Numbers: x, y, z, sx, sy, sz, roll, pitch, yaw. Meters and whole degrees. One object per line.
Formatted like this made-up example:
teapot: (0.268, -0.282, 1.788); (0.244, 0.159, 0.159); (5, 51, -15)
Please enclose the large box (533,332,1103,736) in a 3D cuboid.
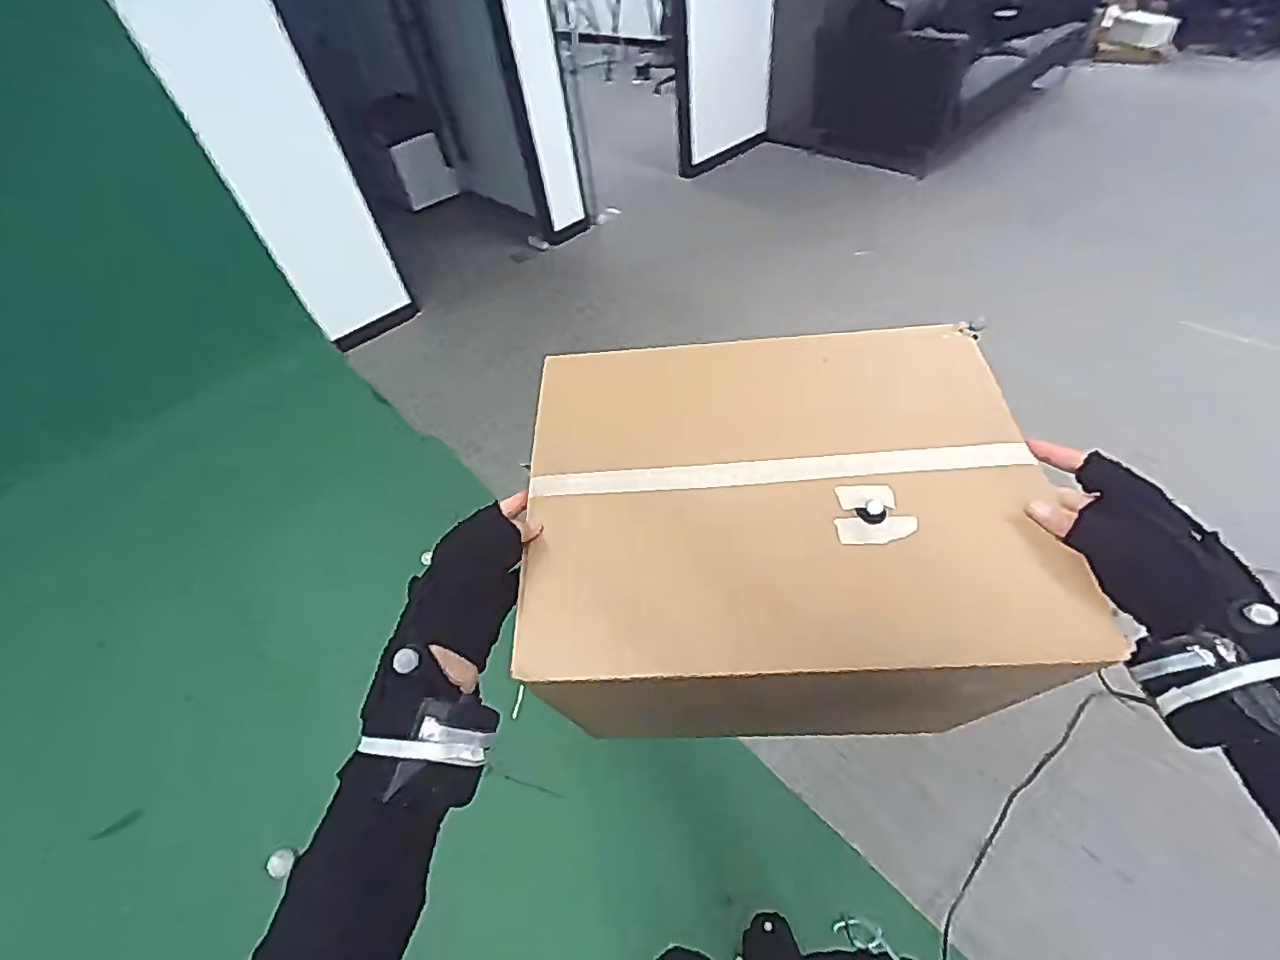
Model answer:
large box: (0.128, 0.080, 0.582); (0.408, 0.320, 0.320); (-4, 58, 5)
